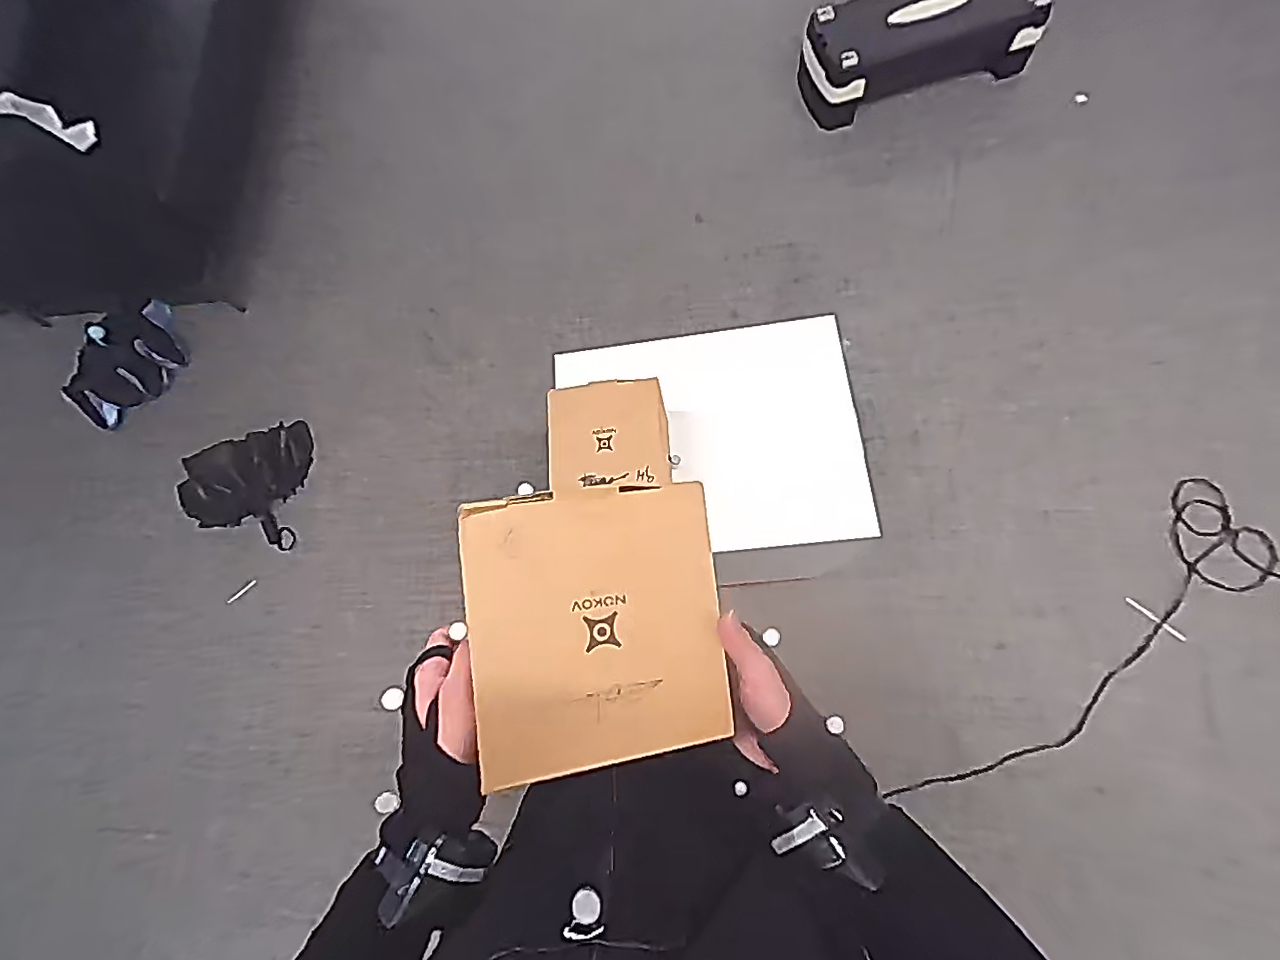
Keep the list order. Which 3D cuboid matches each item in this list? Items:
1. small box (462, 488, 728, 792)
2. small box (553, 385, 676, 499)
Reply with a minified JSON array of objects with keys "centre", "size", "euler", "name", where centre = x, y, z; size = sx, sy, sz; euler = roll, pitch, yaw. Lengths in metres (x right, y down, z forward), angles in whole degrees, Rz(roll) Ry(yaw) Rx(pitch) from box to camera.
[{"centre":[-0.046,0.107,0.429],"size":[0.168,0.176,0.179],"euler":[-5,85,-13],"name":"small box"},{"centre":[-0.034,-0.024,0.842],"size":[0.168,0.176,0.179],"euler":[-6,71,7],"name":"small box"}]
